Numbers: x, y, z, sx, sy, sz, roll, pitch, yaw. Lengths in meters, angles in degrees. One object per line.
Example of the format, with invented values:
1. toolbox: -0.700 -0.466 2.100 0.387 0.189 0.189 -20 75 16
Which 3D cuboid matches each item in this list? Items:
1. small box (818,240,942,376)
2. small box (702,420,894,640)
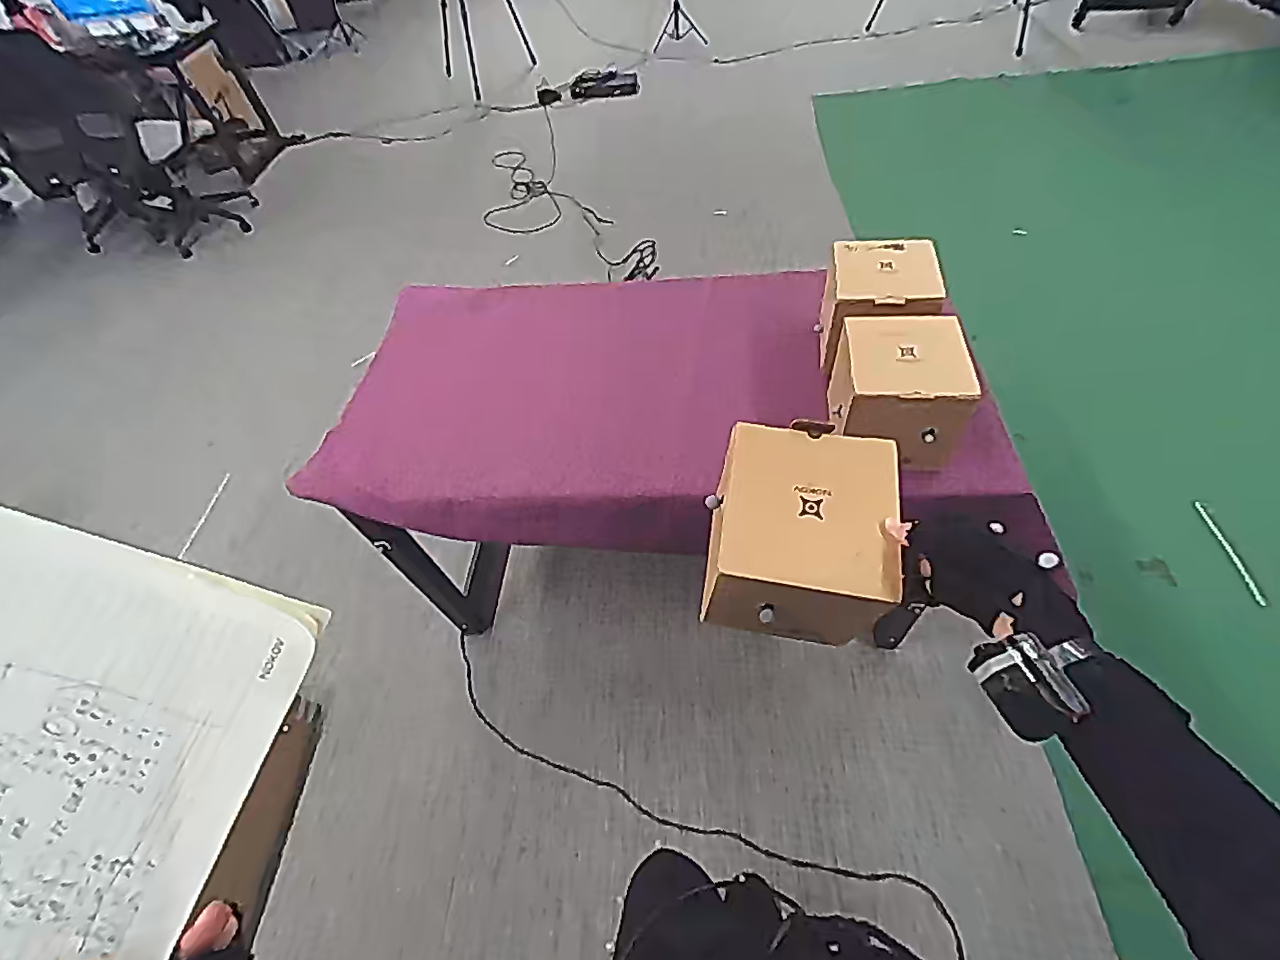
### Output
1. small box: 0.419 -0.304 0.970 0.168 0.176 0.179 5 55 11
2. small box: 0.163 0.062 0.597 0.168 0.176 0.179 9 58 6
